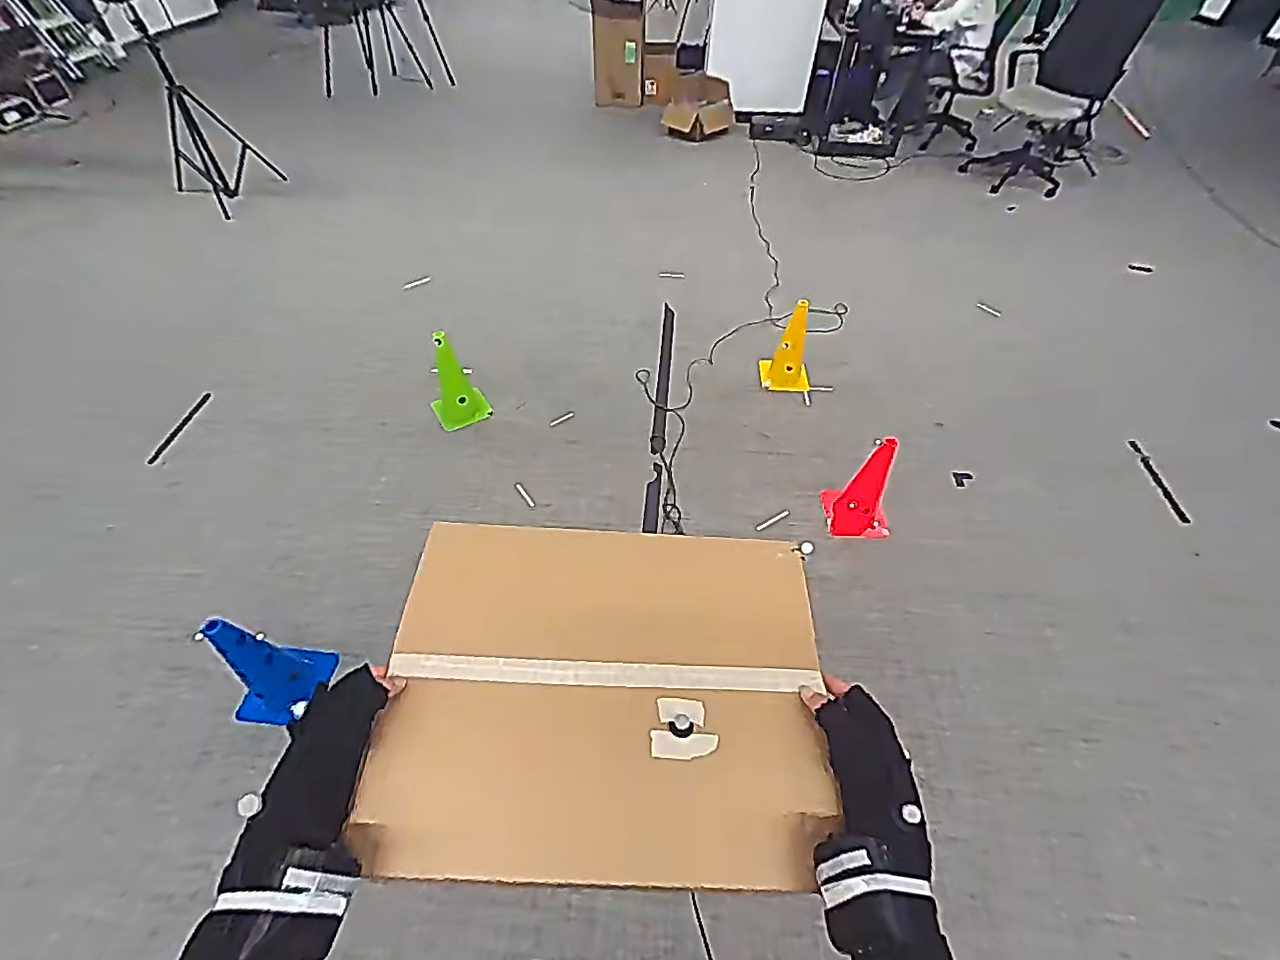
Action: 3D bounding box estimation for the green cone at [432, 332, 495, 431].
[{"bbox_3d":[-0.708,-0.399,2.044,0.202,0.368,0.200,-27,54,-20],"label":"green cone"}]

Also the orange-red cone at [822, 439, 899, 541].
[{"bbox_3d":[0.740,0.008,1.727,0.198,0.360,0.199,3,48,0],"label":"orange-red cone"}]

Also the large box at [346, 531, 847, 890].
[{"bbox_3d":[-0.039,0.279,0.630,0.408,0.320,0.320,4,53,-2],"label":"large box"}]

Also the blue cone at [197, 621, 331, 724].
[{"bbox_3d":[-0.949,0.448,1.333,0.192,0.380,0.193,6,49,5],"label":"blue cone"}]
